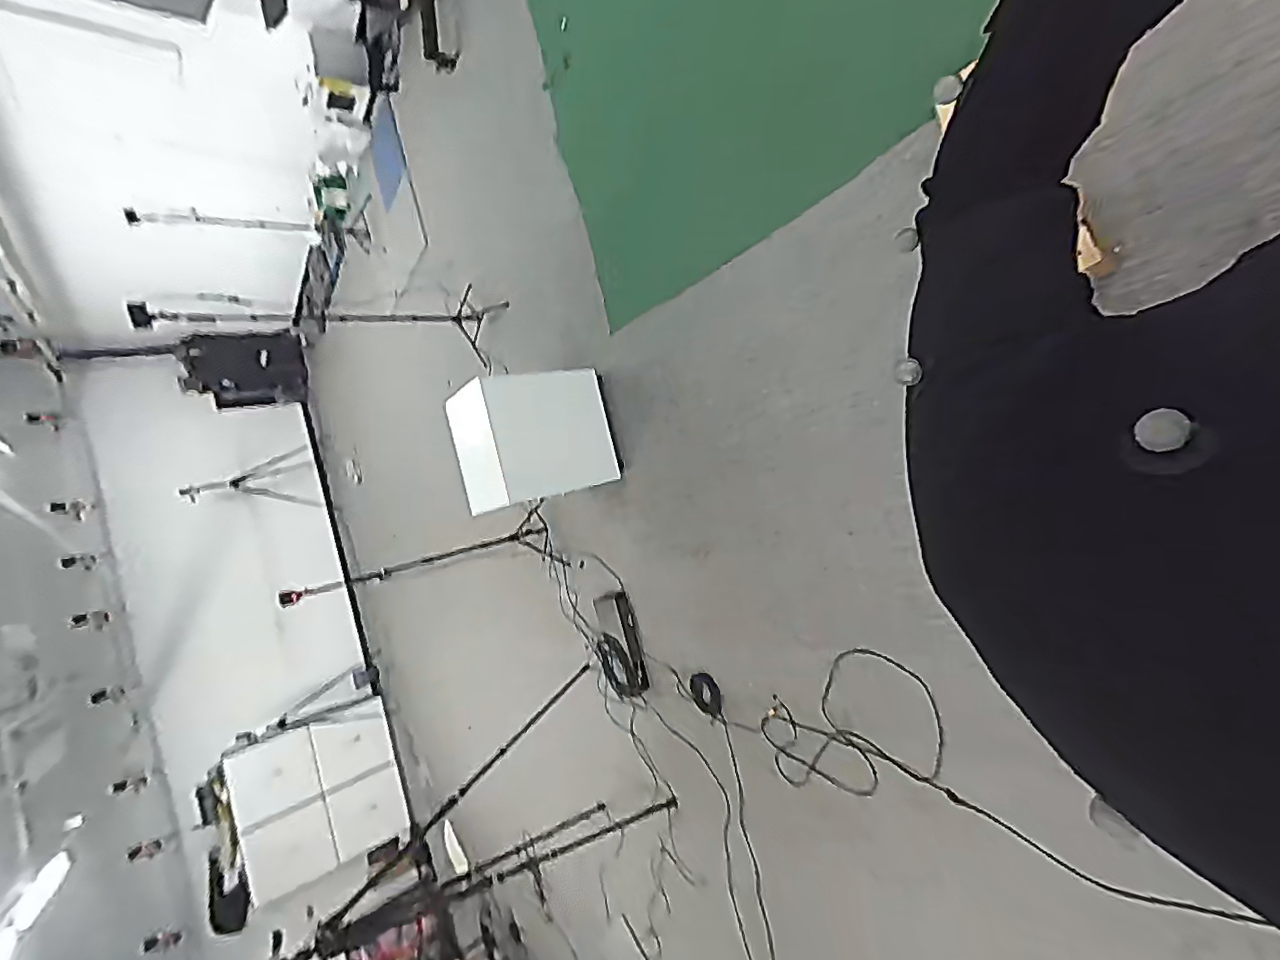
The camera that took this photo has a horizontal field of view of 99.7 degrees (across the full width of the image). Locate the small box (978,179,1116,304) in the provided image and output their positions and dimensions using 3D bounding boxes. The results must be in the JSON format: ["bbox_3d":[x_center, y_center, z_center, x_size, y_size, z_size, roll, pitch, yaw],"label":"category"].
[{"bbox_3d":[0.850,-0.484,1.124,0.179,0.176,0.168,-26,80,51],"label":"small box"}]
